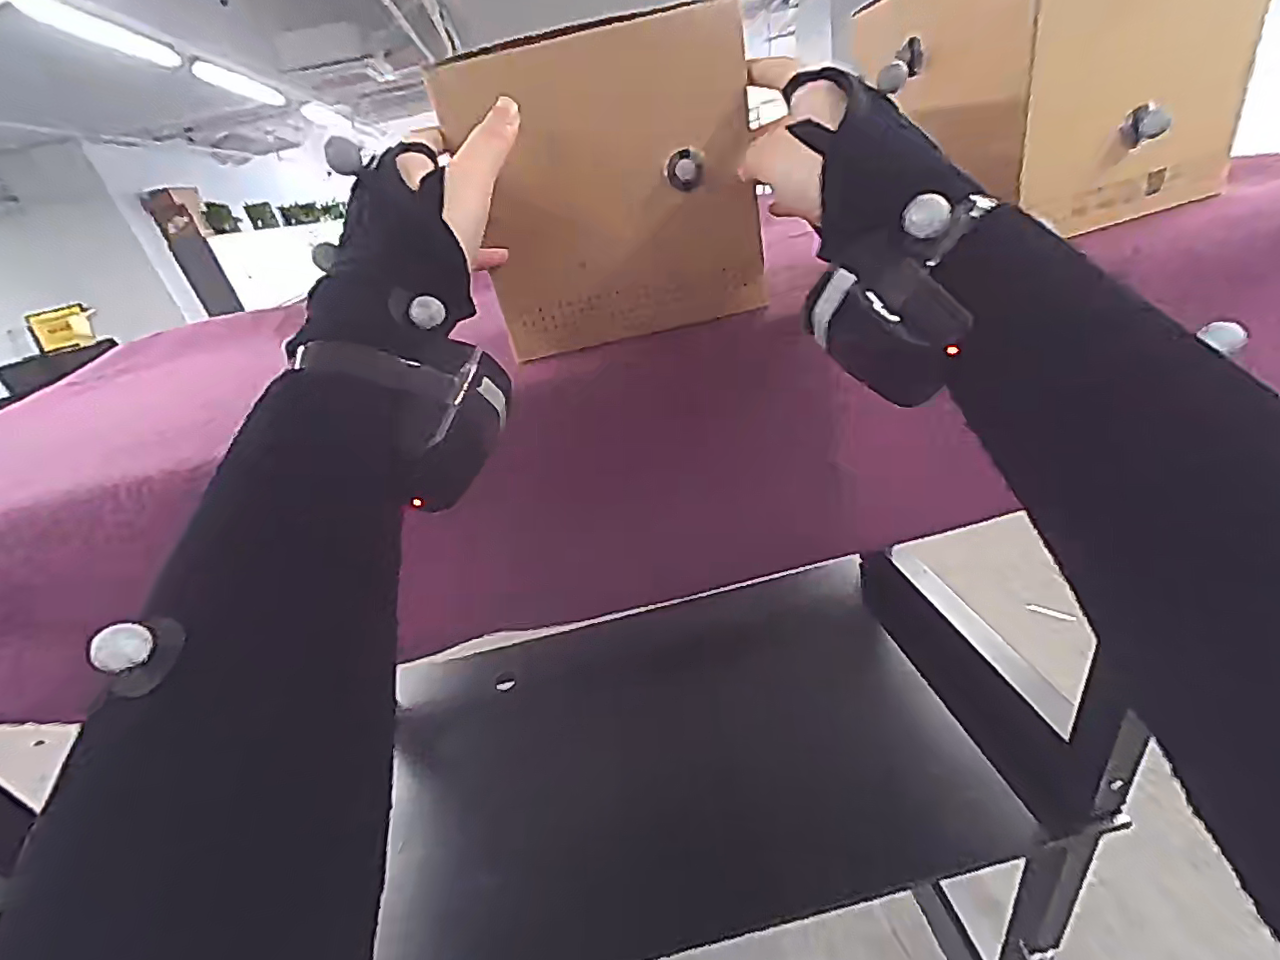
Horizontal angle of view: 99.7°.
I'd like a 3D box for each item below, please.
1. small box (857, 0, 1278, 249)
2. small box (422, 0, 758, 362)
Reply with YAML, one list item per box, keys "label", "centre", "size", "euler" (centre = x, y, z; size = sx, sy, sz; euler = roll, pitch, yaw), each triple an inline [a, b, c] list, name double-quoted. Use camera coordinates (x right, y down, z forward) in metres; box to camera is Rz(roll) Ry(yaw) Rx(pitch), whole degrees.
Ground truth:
- label: "small box"
  centre: [0.276, -0.272, 0.386]
  size: [0.168, 0.176, 0.179]
  euler: [-18, 29, -7]
- label: "small box"
  centre: [-0.020, -0.200, 0.387]
  size: [0.179, 0.176, 0.168]
  euler: [-13, 28, 2]
